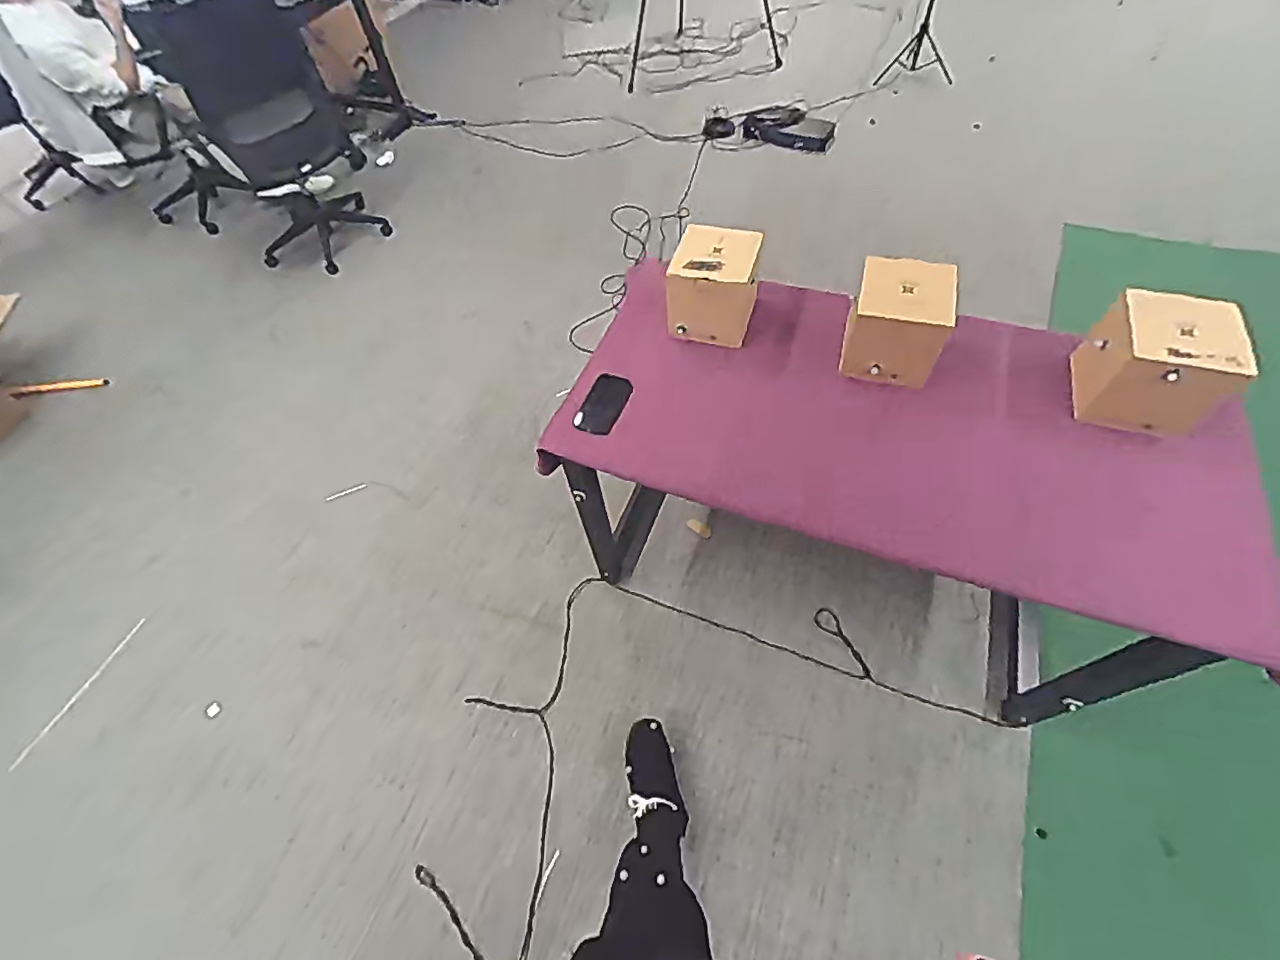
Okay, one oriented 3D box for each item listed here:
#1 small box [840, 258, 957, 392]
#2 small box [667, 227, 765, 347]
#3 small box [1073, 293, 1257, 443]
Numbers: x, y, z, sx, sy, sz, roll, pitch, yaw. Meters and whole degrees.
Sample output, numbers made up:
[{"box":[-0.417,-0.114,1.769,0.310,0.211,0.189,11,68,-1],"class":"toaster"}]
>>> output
[{"box":[0.503,-0.304,1.066,0.168,0.176,0.179,13,59,15],"class":"small box"},{"box":[0.163,-0.413,1.167,0.168,0.176,0.179,14,58,13],"class":"small box"},{"box":[0.904,-0.196,0.954,0.168,0.176,0.179,15,59,15],"class":"small box"}]
